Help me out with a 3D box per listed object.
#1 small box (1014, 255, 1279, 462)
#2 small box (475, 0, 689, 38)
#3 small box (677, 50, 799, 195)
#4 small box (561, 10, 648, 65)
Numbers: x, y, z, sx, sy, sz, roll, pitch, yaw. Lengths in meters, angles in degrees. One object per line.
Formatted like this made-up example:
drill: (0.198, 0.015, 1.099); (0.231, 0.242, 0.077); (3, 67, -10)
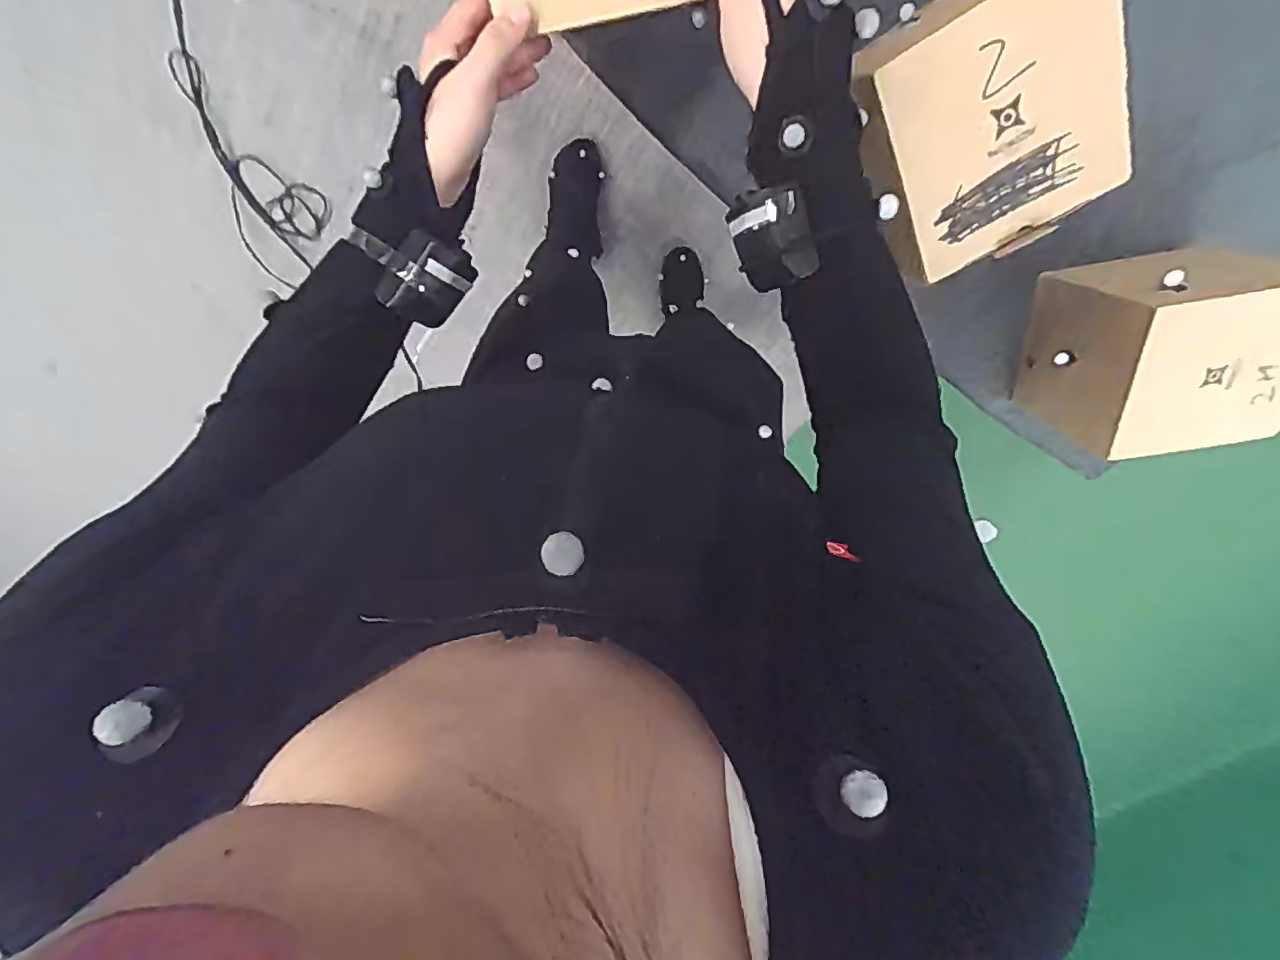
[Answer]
small box: (0.558, -0.139, 0.594); (0.179, 0.176, 0.168); (-8, 121, 3)
small box: (-0.025, -0.408, 0.348); (0.179, 0.176, 0.168); (-6, 132, 8)
small box: (0.190, -0.707, 1.079); (0.168, 0.176, 0.179); (-31, 119, 16)
small box: (-0.085, -0.877, 0.952); (0.168, 0.176, 0.179); (-38, 117, 21)
